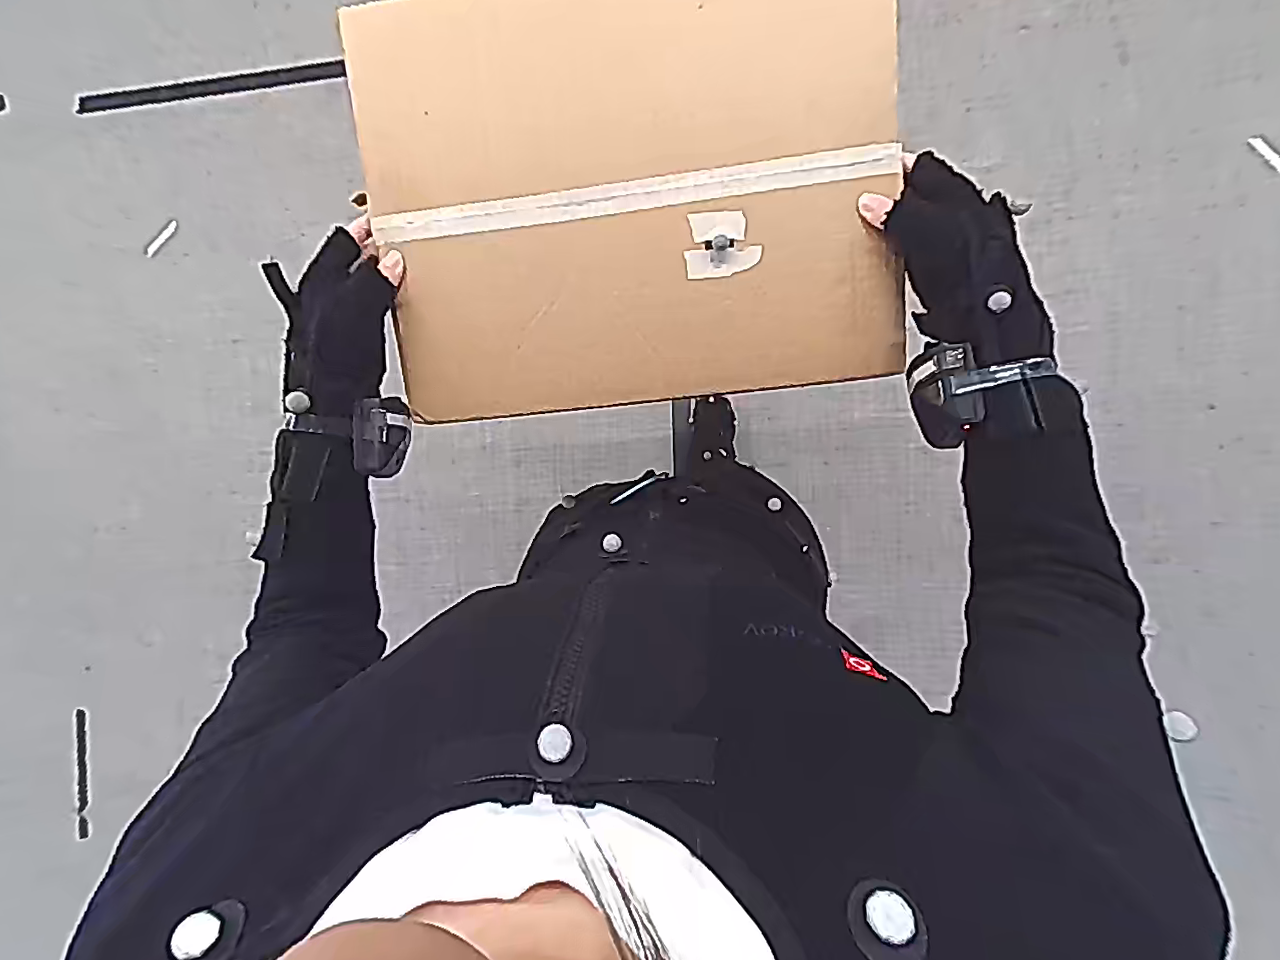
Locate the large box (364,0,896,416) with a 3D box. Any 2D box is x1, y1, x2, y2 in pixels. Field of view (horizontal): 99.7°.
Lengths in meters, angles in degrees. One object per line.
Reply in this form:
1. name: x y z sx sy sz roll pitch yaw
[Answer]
1. large box: 0.003 -0.253 0.577 0.408 0.320 0.320 -6 101 4
